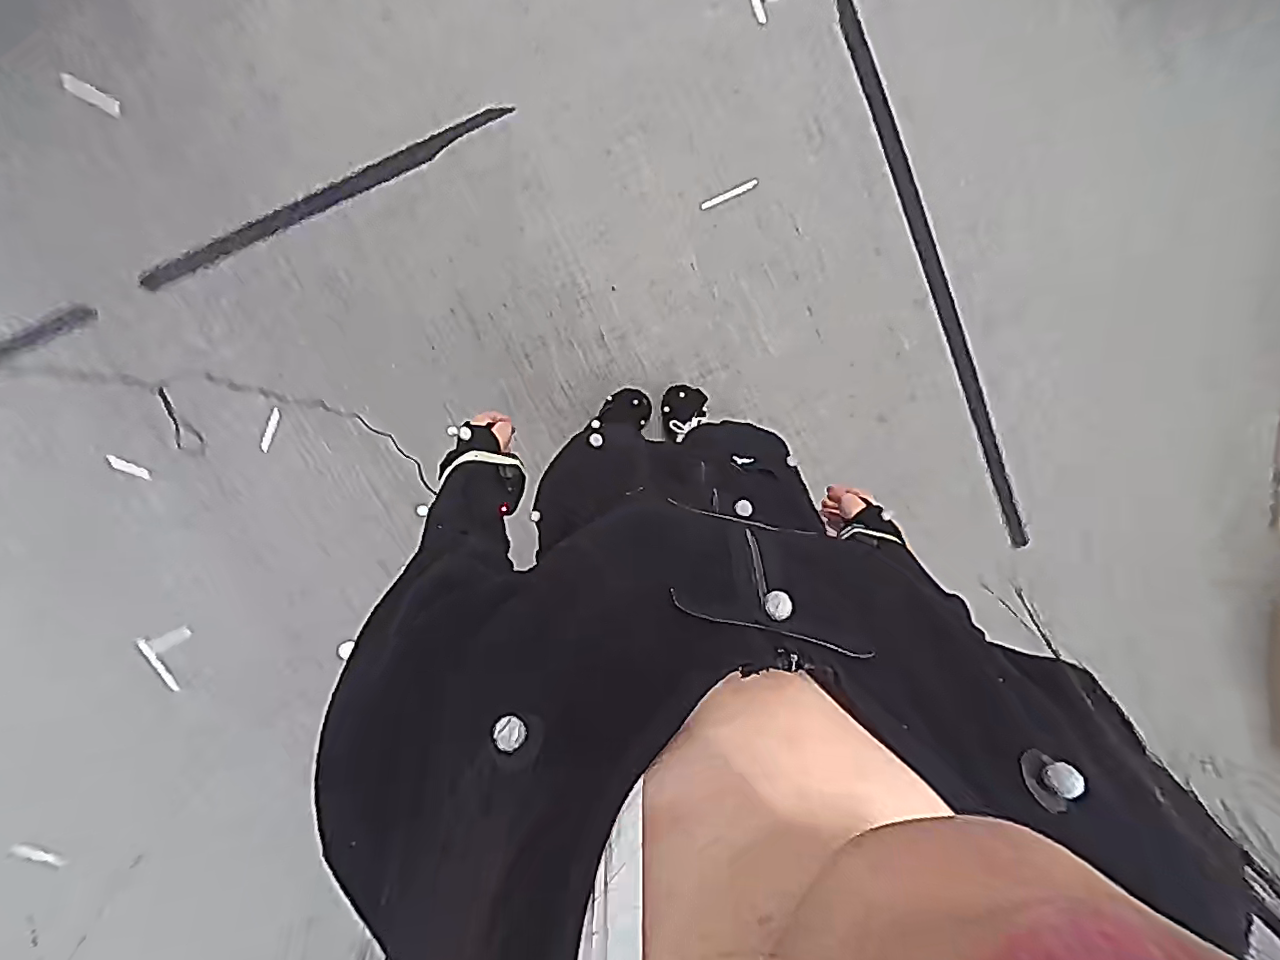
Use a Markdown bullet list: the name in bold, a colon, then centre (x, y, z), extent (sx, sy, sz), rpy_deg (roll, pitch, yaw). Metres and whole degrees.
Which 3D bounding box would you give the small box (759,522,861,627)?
- **small box**: centre (0.408, 0.224, 1.317), extent (0.168, 0.176, 0.179), rpy_deg (-20, 101, 1)
